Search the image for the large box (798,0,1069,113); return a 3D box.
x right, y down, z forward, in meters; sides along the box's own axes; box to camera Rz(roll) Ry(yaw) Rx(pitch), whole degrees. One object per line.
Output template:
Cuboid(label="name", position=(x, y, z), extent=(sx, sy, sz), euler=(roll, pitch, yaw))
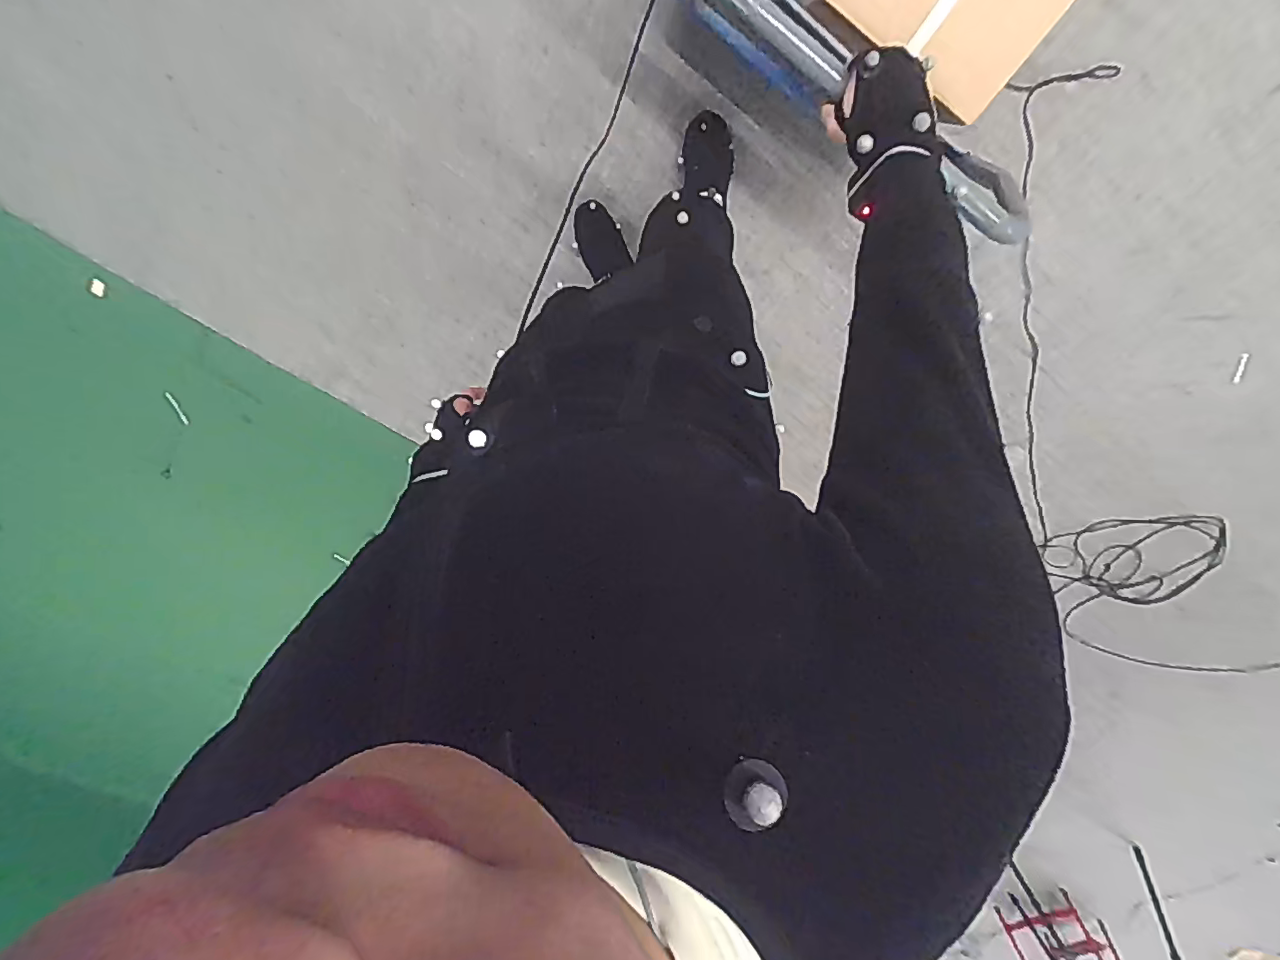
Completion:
Cuboid(label="large box", position=(0.511, -0.865, 0.837), extent=(0.320, 0.320, 0.408), euler=(27, 123, -16))
